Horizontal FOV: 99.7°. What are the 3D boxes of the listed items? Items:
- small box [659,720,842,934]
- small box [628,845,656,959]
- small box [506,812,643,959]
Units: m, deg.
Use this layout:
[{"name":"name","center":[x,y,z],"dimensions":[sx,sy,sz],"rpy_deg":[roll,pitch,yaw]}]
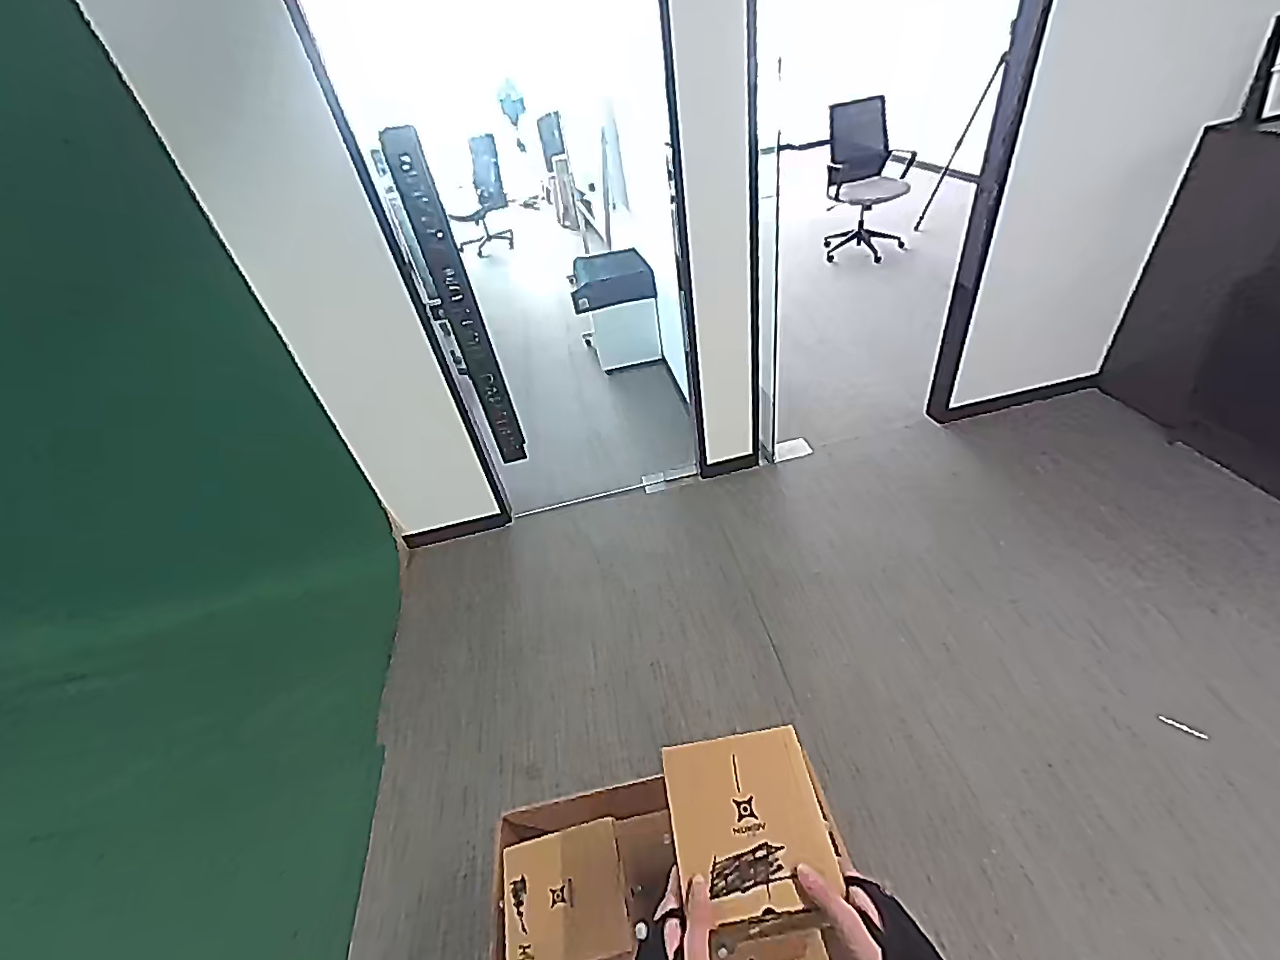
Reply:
[{"name":"small box","center":[0.121,0.417,0.646],"dimensions":[0.168,0.176,0.179],"rpy_deg":[-9,44,-1]},{"name":"small box","center":[-0.075,0.769,0.931],"dimensions":[0.179,0.176,0.168],"rpy_deg":[-12,40,-4]},{"name":"small box","center":[-0.097,0.644,0.826],"dimensions":[0.179,0.176,0.168],"rpy_deg":[-13,40,-4]}]
